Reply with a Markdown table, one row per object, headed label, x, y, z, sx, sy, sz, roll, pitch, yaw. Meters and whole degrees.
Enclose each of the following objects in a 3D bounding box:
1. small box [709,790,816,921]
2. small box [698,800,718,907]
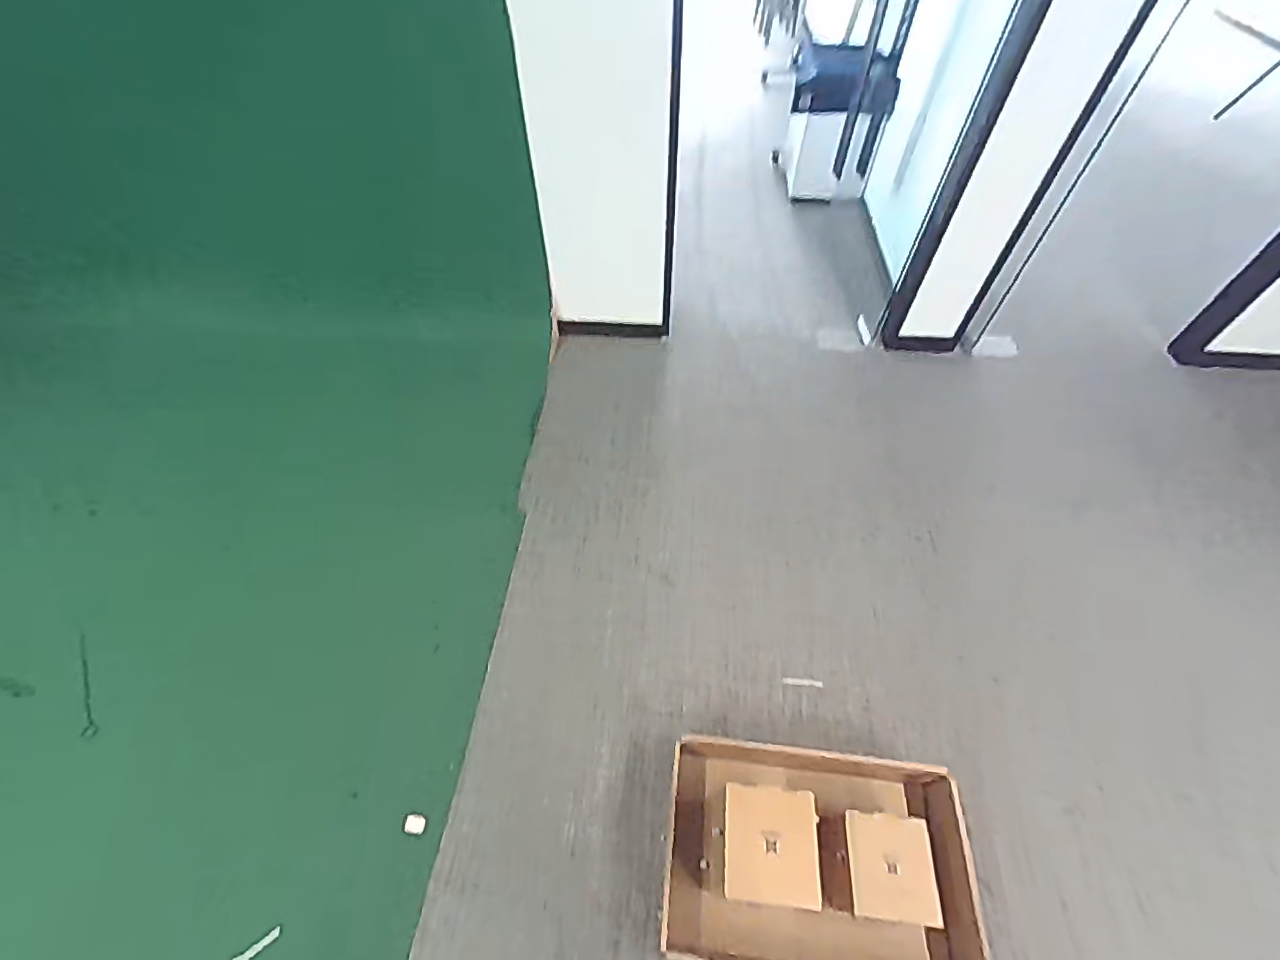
| label | x | y | z | sx | sy | sz | roll | pitch | yaw |
| --- | --- | --- | --- | --- | --- | --- | --- | --- | --- |
| small box | 0.221 | 0.699 | 1.011 | 0.168 | 0.176 | 0.179 | 5 | 53 | 3 |
| small box | 0.215 | 0.797 | 1.141 | 0.168 | 0.176 | 0.179 | 6 | 53 | 3 |
